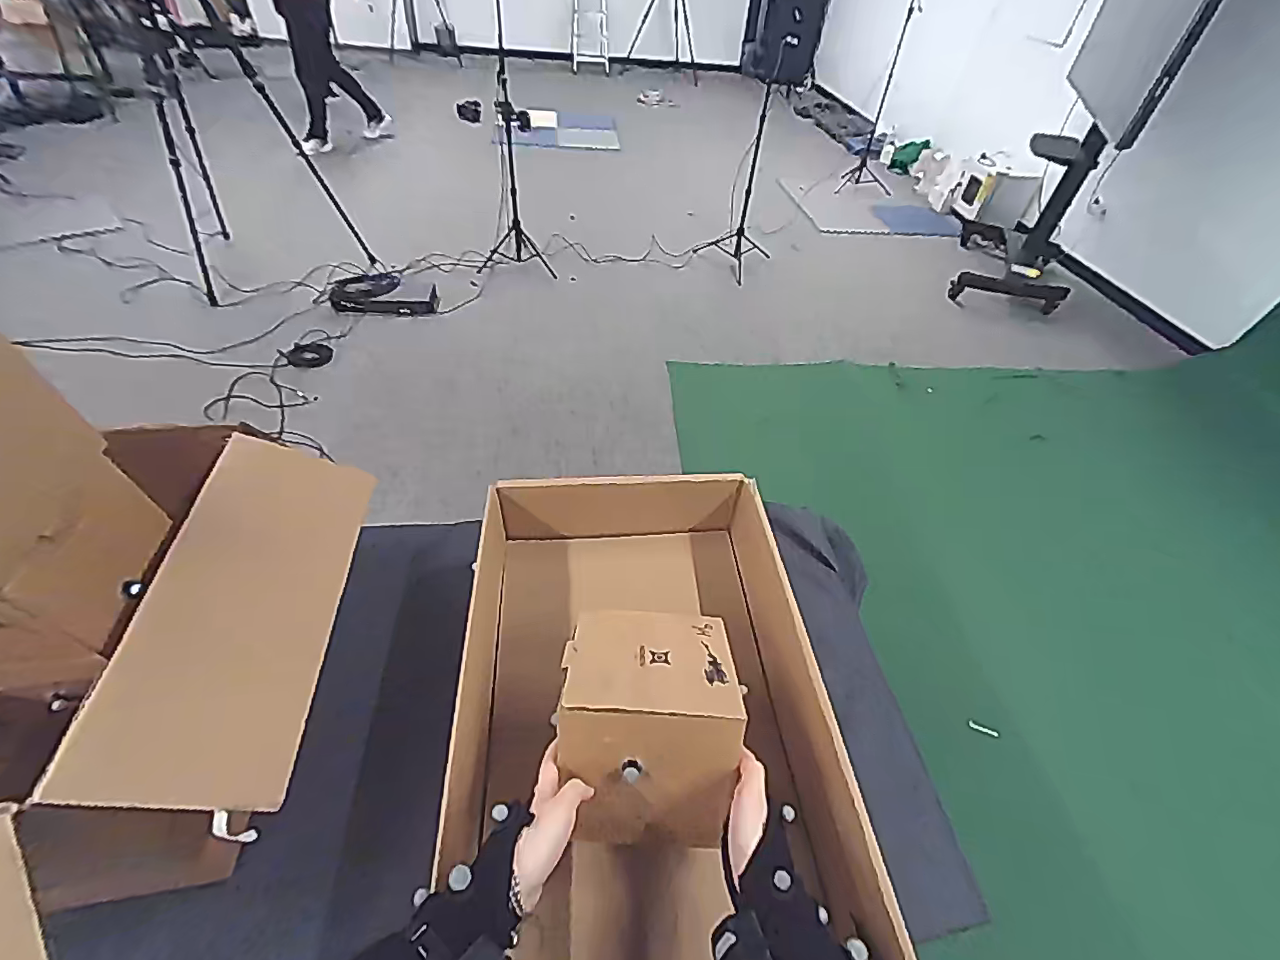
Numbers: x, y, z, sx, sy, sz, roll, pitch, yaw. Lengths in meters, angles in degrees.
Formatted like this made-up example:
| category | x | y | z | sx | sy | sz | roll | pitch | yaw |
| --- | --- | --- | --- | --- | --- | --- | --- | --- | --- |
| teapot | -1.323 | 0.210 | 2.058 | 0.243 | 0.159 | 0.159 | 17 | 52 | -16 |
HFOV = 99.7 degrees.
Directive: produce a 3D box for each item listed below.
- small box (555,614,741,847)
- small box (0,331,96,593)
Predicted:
| category | x | y | z | sx | sy | sz | roll | pitch | yaw |
| --- | --- | --- | --- | --- | --- | --- | --- | --- | --- |
| small box | 0.005 | 0.268 | 0.596 | 0.179 | 0.176 | 0.168 | 4 | 20 | -1 |
| small box | -0.598 | -0.016 | 0.422 | 0.168 | 0.176 | 0.179 | -3 | 50 | -6 |
